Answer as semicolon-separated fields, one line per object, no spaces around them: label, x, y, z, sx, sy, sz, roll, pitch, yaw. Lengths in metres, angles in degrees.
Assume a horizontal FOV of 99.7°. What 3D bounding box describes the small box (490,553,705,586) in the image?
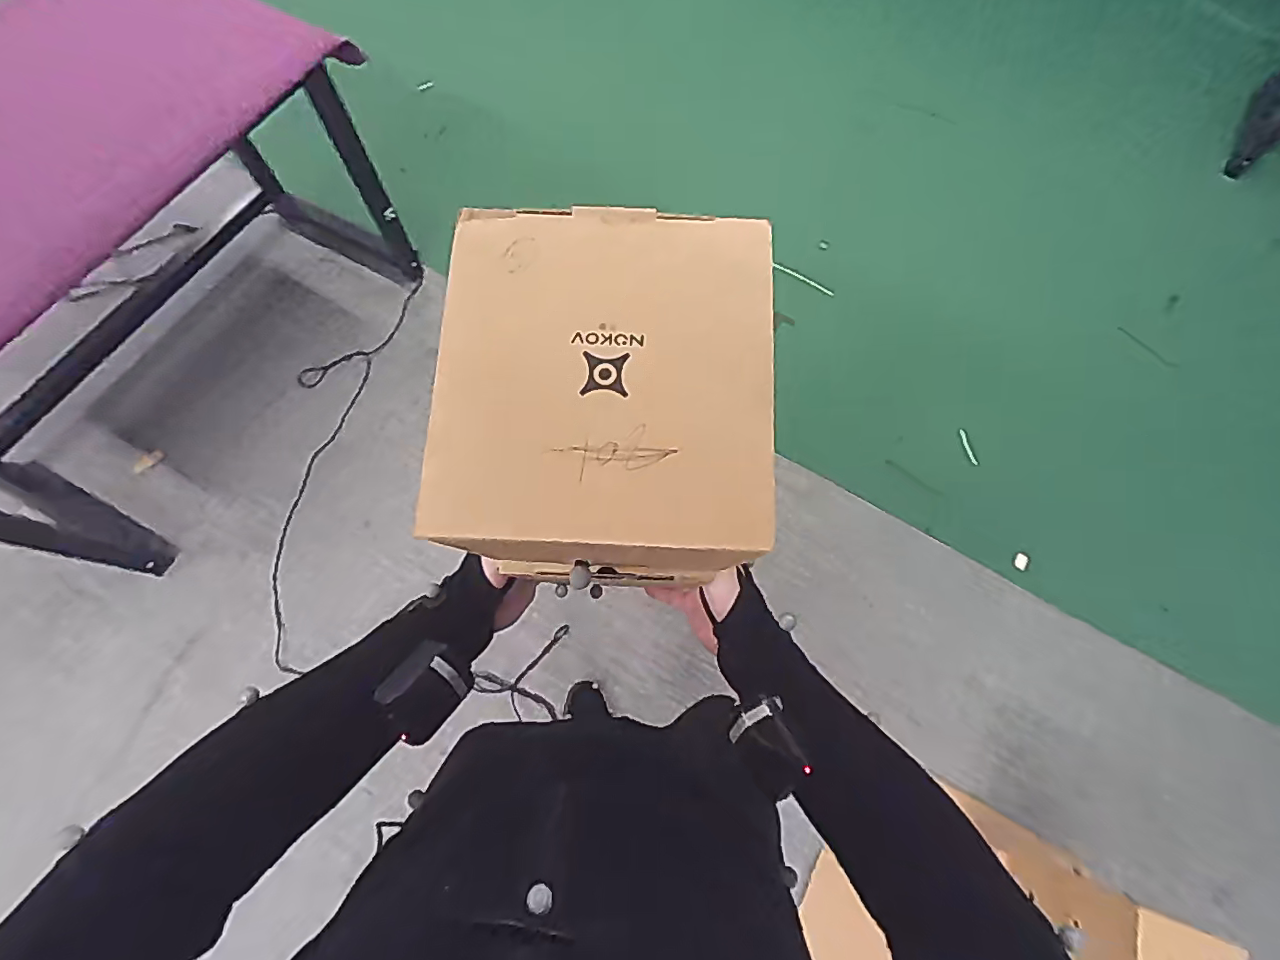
small box;-0.028;0.005;0.497;0.168;0.176;0.179;2;76;0

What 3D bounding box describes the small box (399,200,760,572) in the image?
small box;-0.024;-0.039;0.340;0.168;0.176;0.179;2;77;1

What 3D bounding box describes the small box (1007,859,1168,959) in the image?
small box;0.869;0.887;1.065;0.179;0.176;0.168;24;72;5
